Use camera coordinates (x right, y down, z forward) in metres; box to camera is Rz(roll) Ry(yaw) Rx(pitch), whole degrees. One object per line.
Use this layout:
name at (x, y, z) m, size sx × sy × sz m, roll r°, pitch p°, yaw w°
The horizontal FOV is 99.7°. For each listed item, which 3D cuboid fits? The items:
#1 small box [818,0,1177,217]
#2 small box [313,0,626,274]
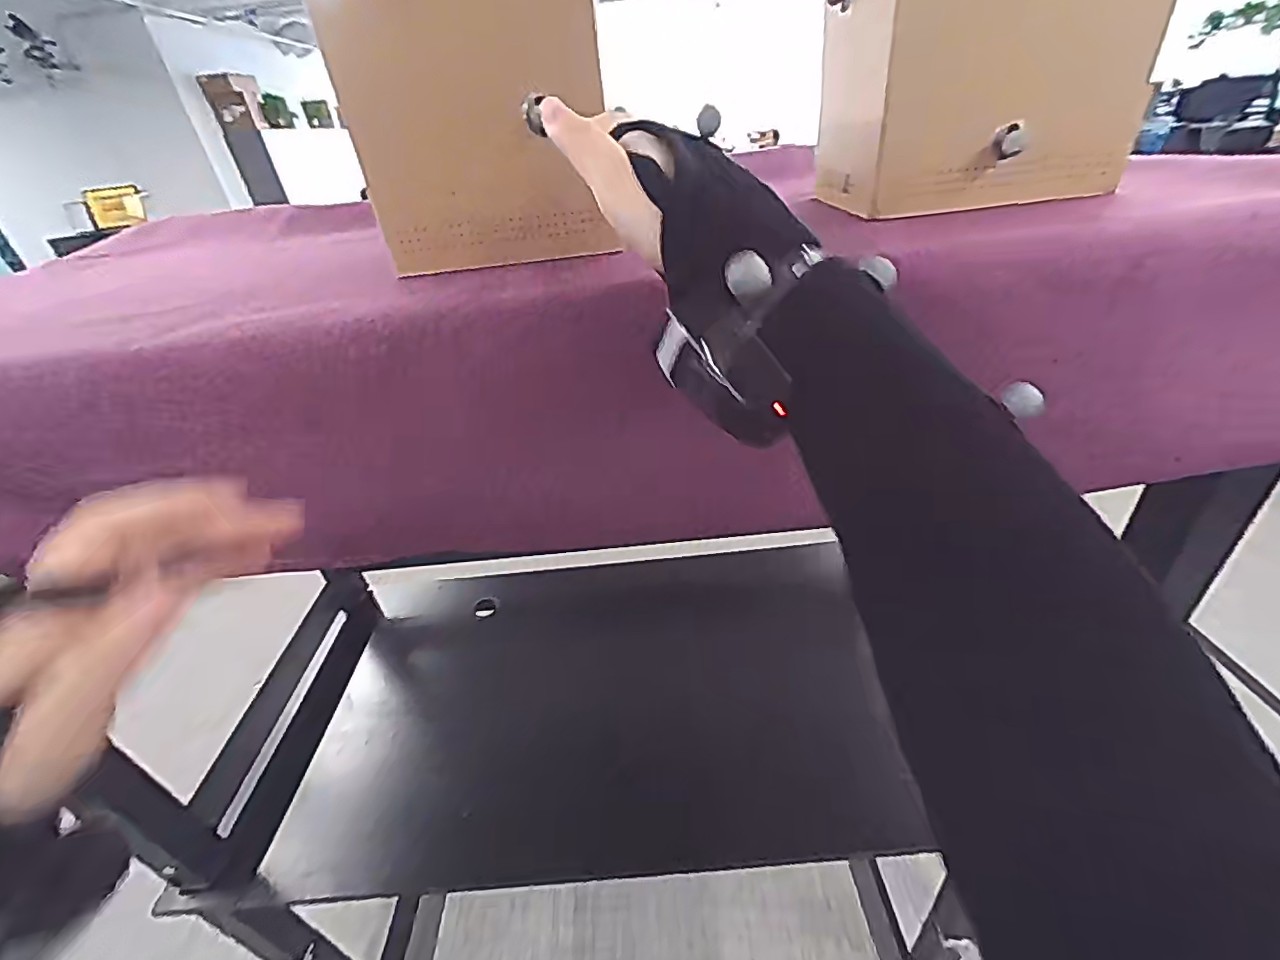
small box at (0.249, -0.310, 0.414) m, size 0.179 × 0.176 × 0.168 m, roll -5°, pitch 32°, yaw 3°
small box at (-0.104, -0.273, 0.427) m, size 0.179 × 0.176 × 0.168 m, roll -6°, pitch 32°, yaw 2°
